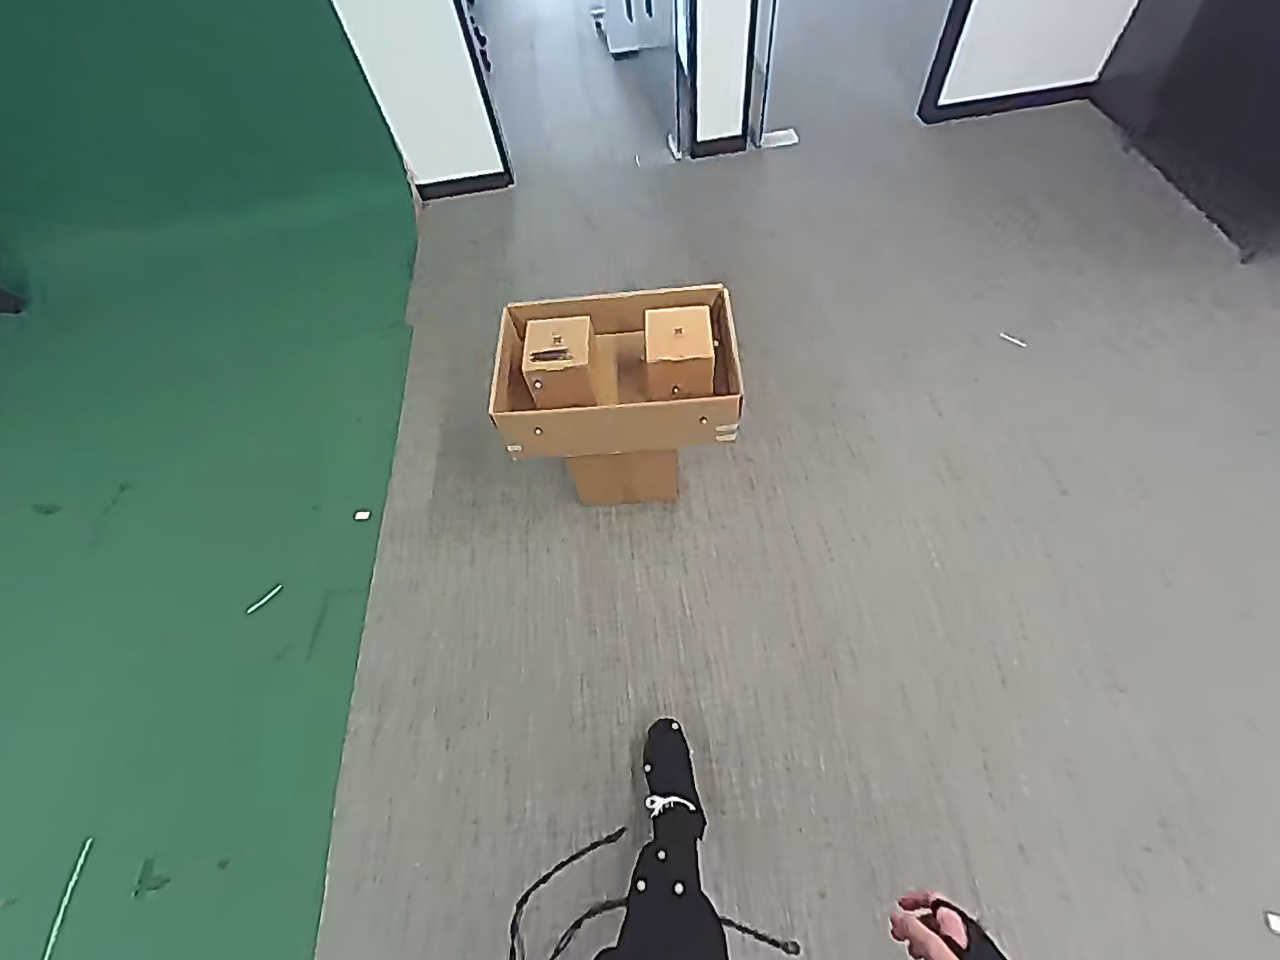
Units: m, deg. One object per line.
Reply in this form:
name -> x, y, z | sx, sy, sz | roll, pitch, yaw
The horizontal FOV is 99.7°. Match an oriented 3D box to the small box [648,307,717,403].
small box -> 0.108, -0.323, 1.409 | 0.168, 0.176, 0.179 | -4, 60, 4
